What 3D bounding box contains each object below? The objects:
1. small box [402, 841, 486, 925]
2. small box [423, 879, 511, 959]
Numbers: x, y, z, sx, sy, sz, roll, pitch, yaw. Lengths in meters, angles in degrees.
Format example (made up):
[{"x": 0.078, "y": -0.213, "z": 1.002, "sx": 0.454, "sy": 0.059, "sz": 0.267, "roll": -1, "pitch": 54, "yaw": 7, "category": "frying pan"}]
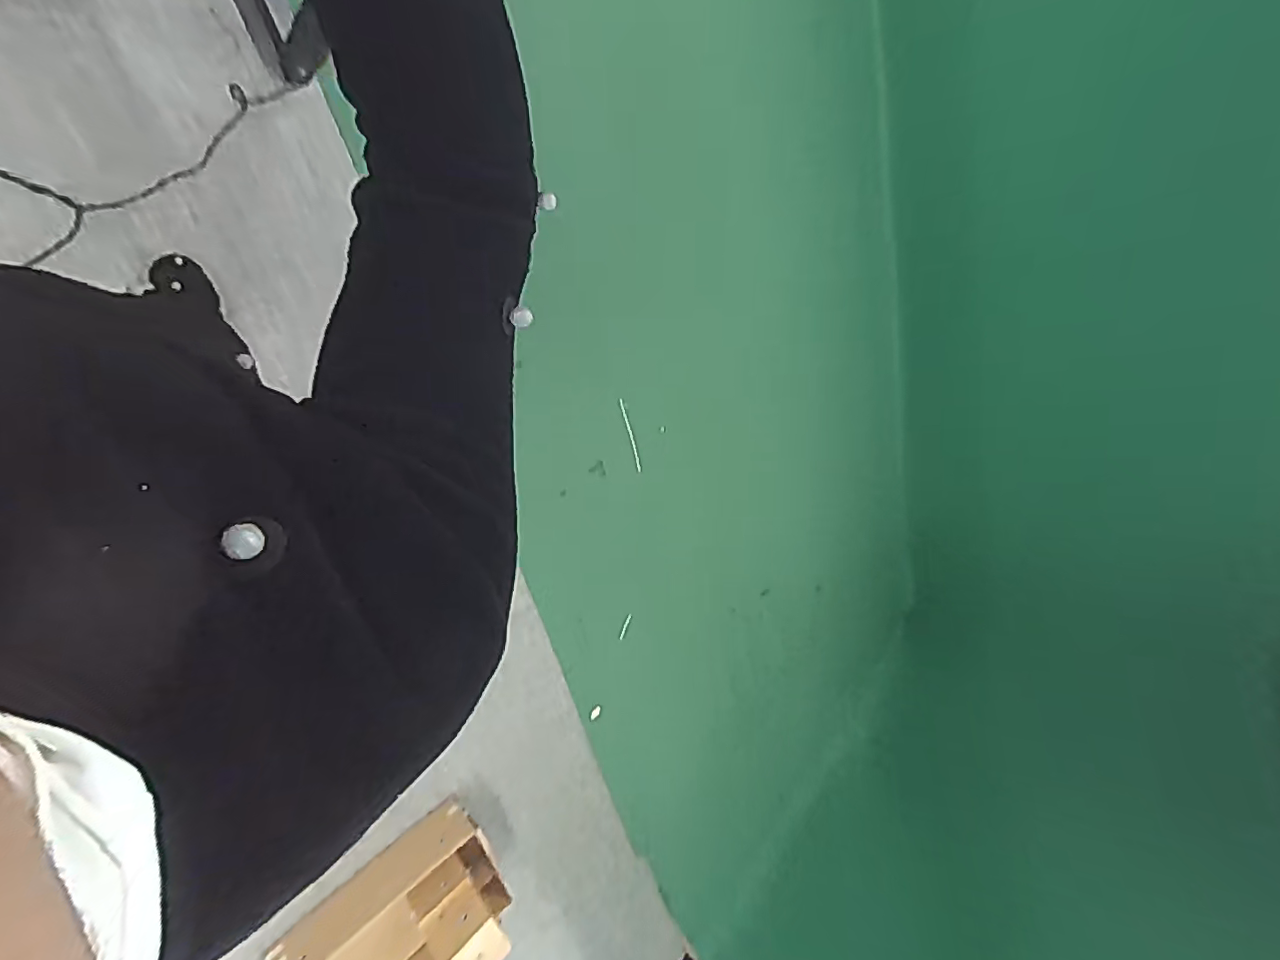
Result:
[{"x": -0.639, "y": 1.331, "z": 1.757, "sx": 0.179, "sy": 0.176, "sz": 0.168, "roll": -31, "pitch": 117, "yaw": -32, "category": "small box"}, {"x": -0.529, "y": 1.368, "z": 1.642, "sx": 0.168, "sy": 0.176, "sz": 0.179, "roll": -34, "pitch": 120, "yaw": -32, "category": "small box"}]
